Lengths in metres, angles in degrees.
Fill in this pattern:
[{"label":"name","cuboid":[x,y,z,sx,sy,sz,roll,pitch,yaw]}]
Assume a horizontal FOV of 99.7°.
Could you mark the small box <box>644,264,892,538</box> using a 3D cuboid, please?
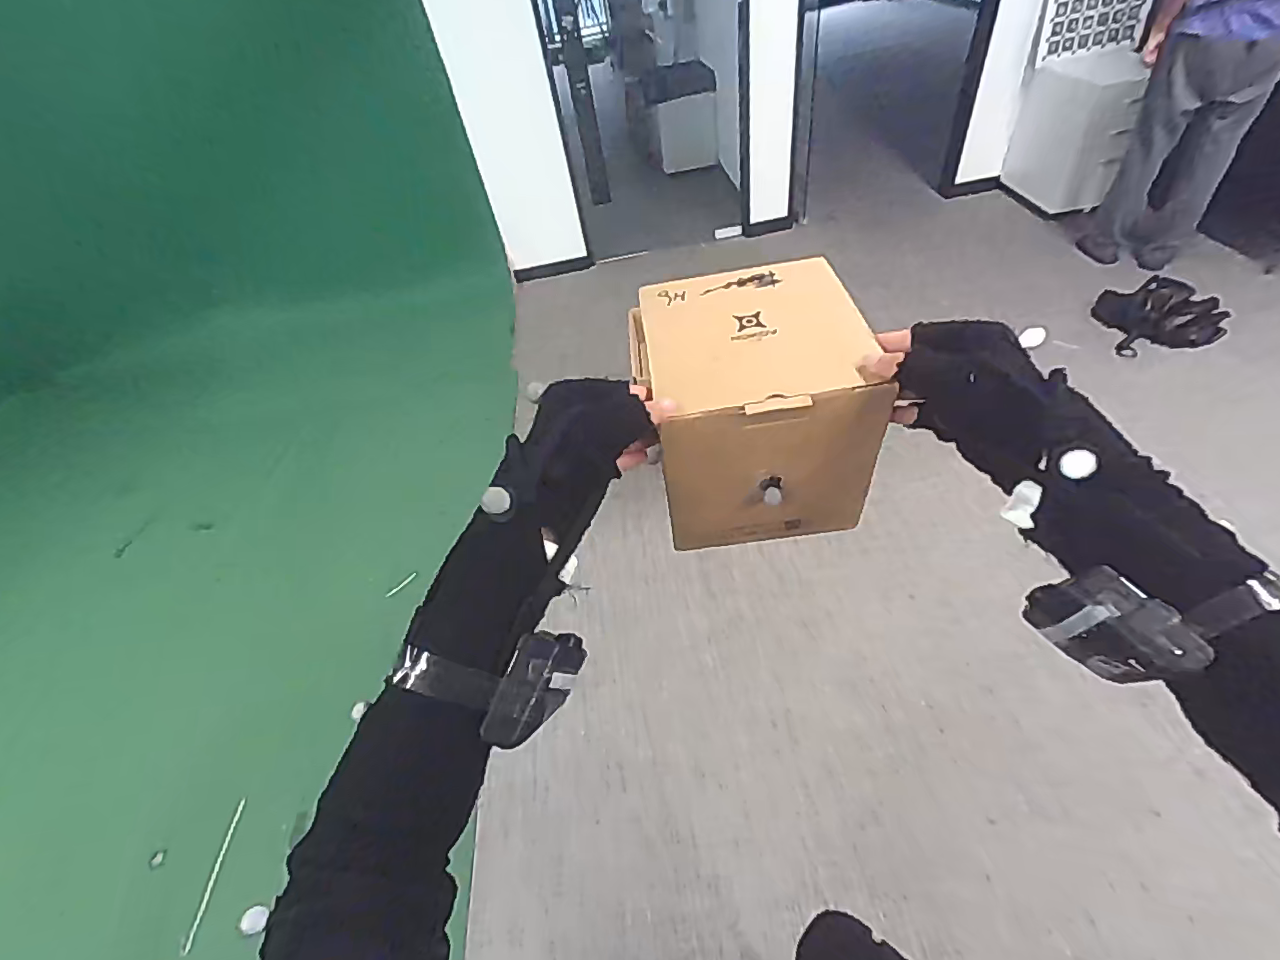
[{"label":"small box","cuboid":[0.100,-0.062,0.486,0.168,0.176,0.179,-8,49,4]}]
